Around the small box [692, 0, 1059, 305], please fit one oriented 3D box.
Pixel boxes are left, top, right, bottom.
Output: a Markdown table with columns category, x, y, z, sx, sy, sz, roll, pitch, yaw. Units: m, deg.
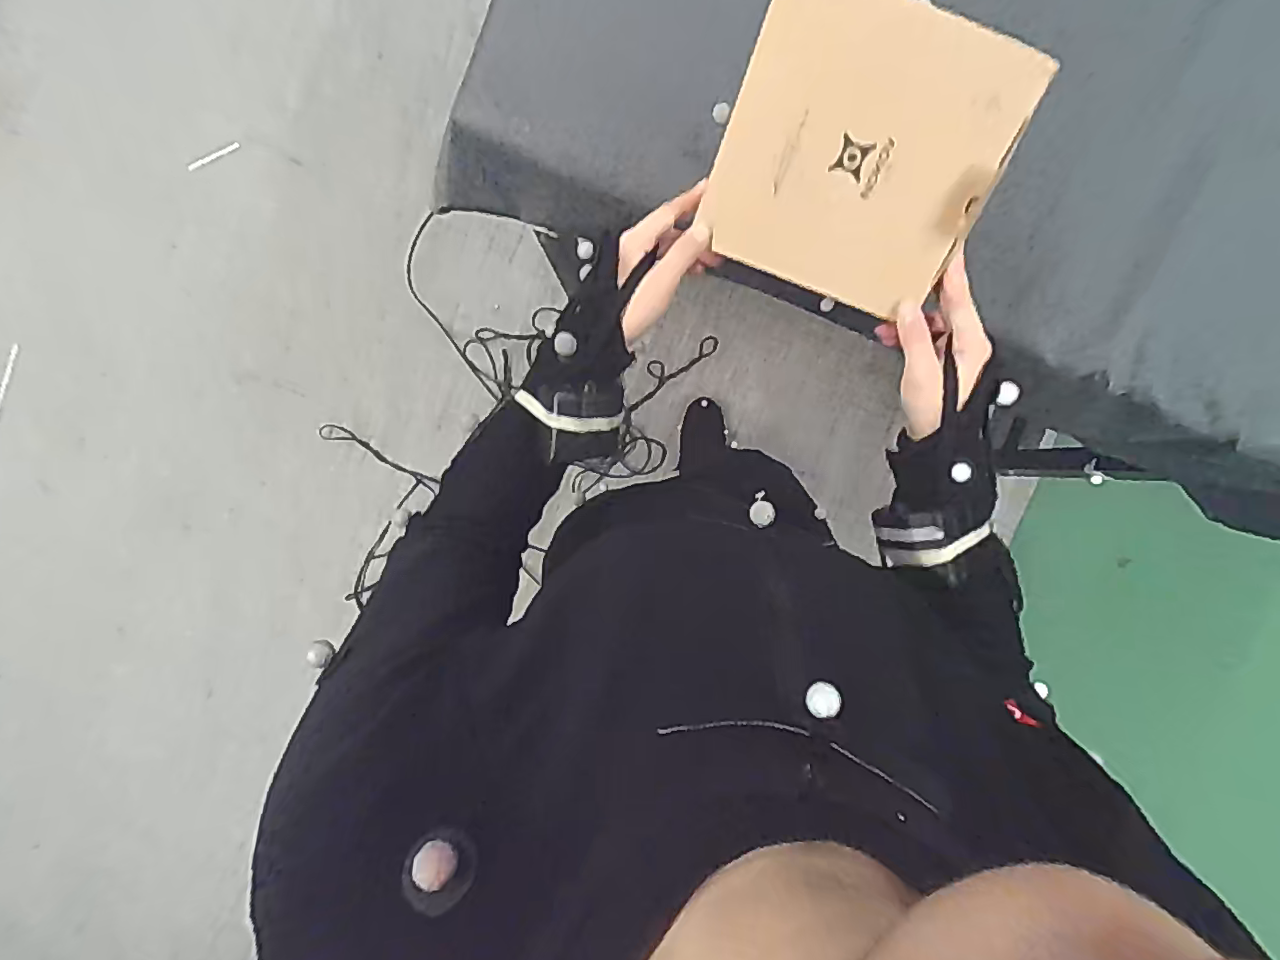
| category | x | y | z | sx | sy | sz | roll | pitch | yaw |
| --- | --- | --- | --- | --- | --- | --- | --- | --- | --- |
| small box | 0.153 | -0.256 | 0.422 | 0.179 | 0.176 | 0.168 | 20 | 115 | -1 |
